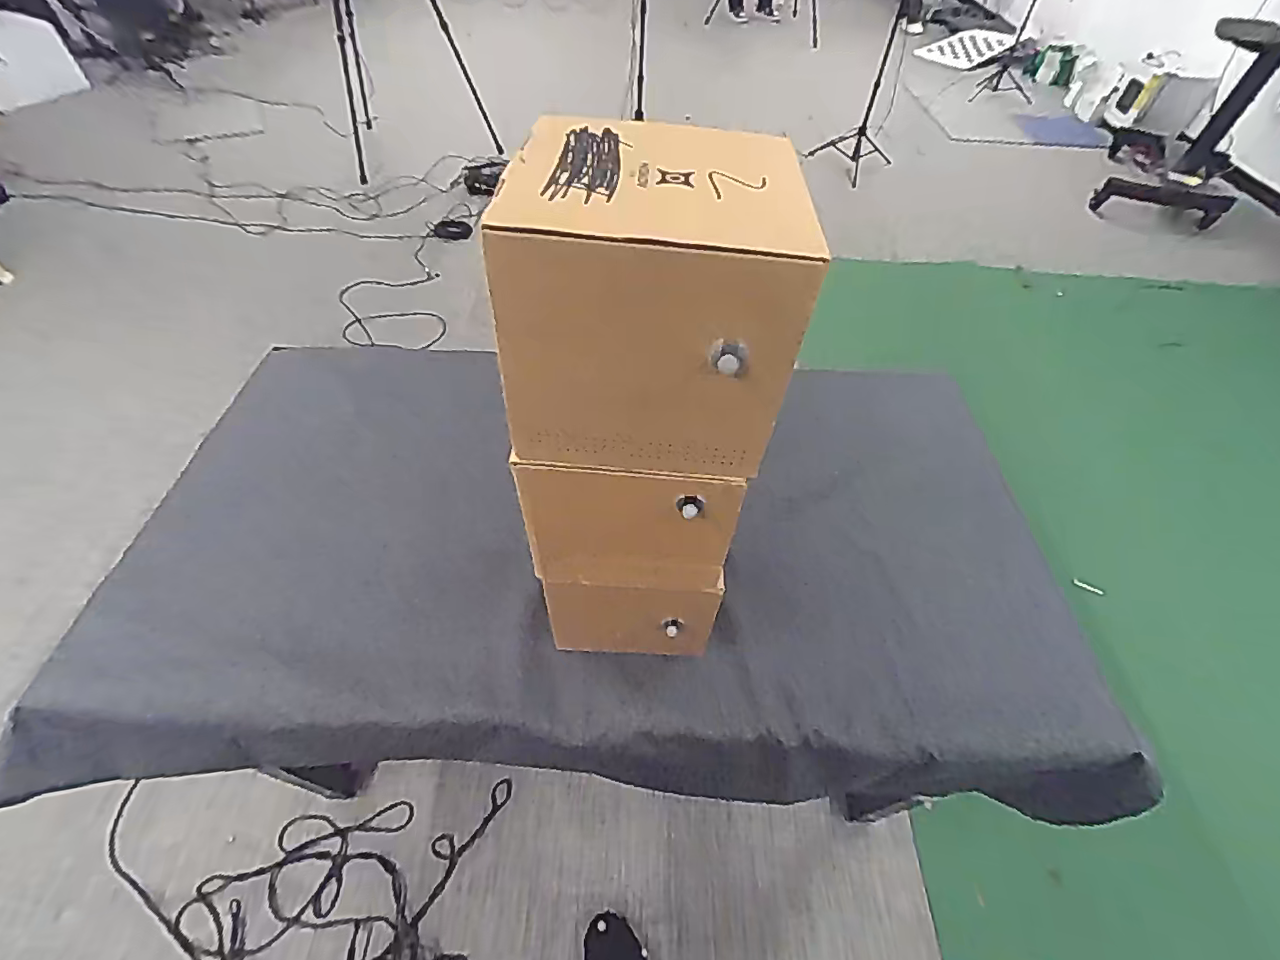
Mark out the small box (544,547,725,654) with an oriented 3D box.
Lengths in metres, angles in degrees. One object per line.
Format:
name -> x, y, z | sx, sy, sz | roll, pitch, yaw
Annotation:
small box -> -0.005, 0.091, 0.627 | 0.179, 0.176, 0.168 | 2, 50, 0

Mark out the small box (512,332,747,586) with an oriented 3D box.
small box -> -0.006, -0.016, 0.504 | 0.179, 0.176, 0.168 | 5, 50, 0
